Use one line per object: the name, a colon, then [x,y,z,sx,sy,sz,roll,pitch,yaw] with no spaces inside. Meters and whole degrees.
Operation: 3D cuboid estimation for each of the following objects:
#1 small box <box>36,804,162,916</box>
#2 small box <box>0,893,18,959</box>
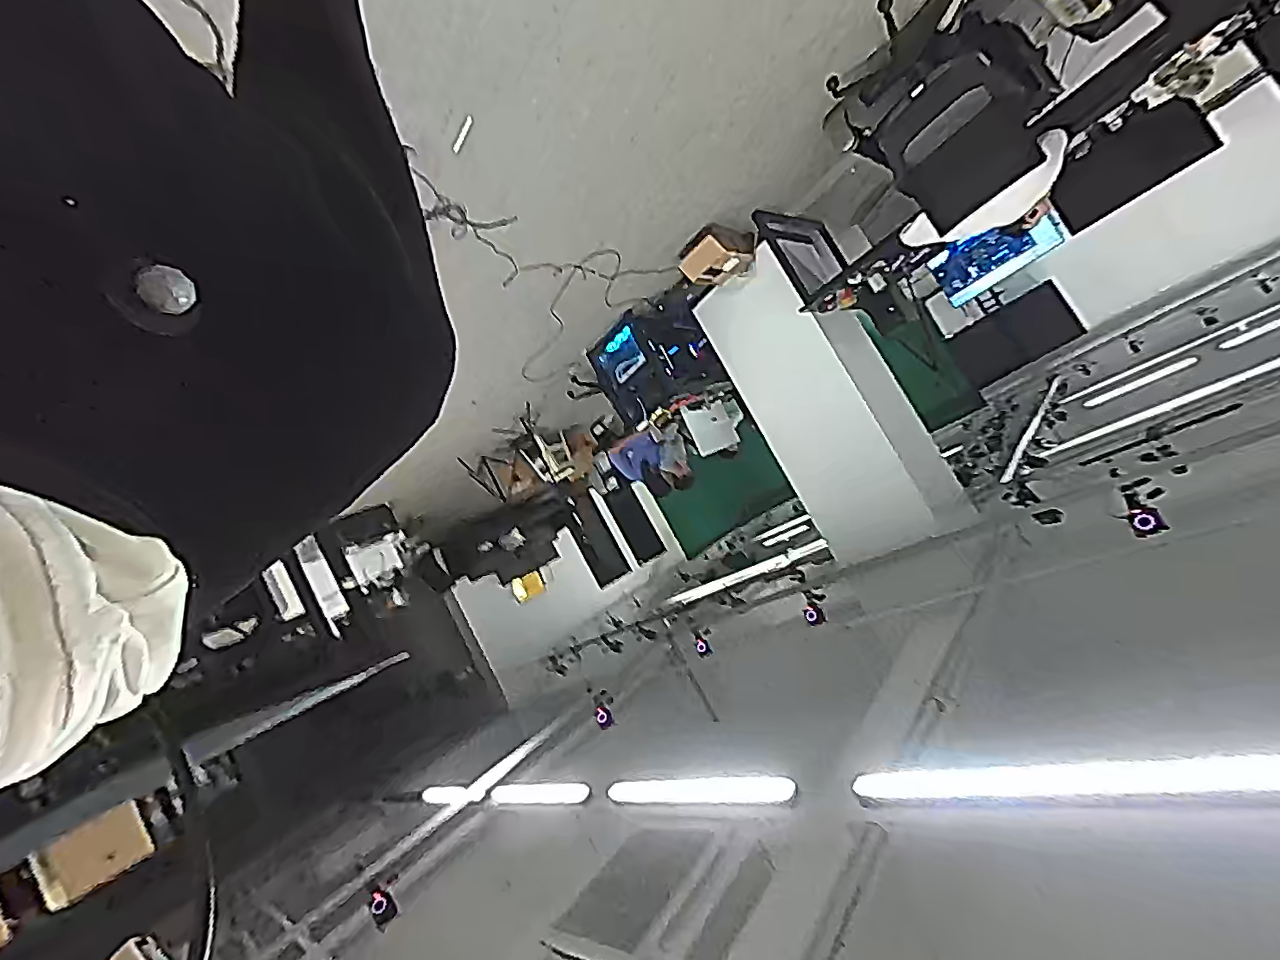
small box: [-1.447,1.010,1.448,0.168,0.176,0.179,-32,173,26]
small box: [-1.568,1.053,1.232,0.179,0.176,0.168,-34,173,37]
